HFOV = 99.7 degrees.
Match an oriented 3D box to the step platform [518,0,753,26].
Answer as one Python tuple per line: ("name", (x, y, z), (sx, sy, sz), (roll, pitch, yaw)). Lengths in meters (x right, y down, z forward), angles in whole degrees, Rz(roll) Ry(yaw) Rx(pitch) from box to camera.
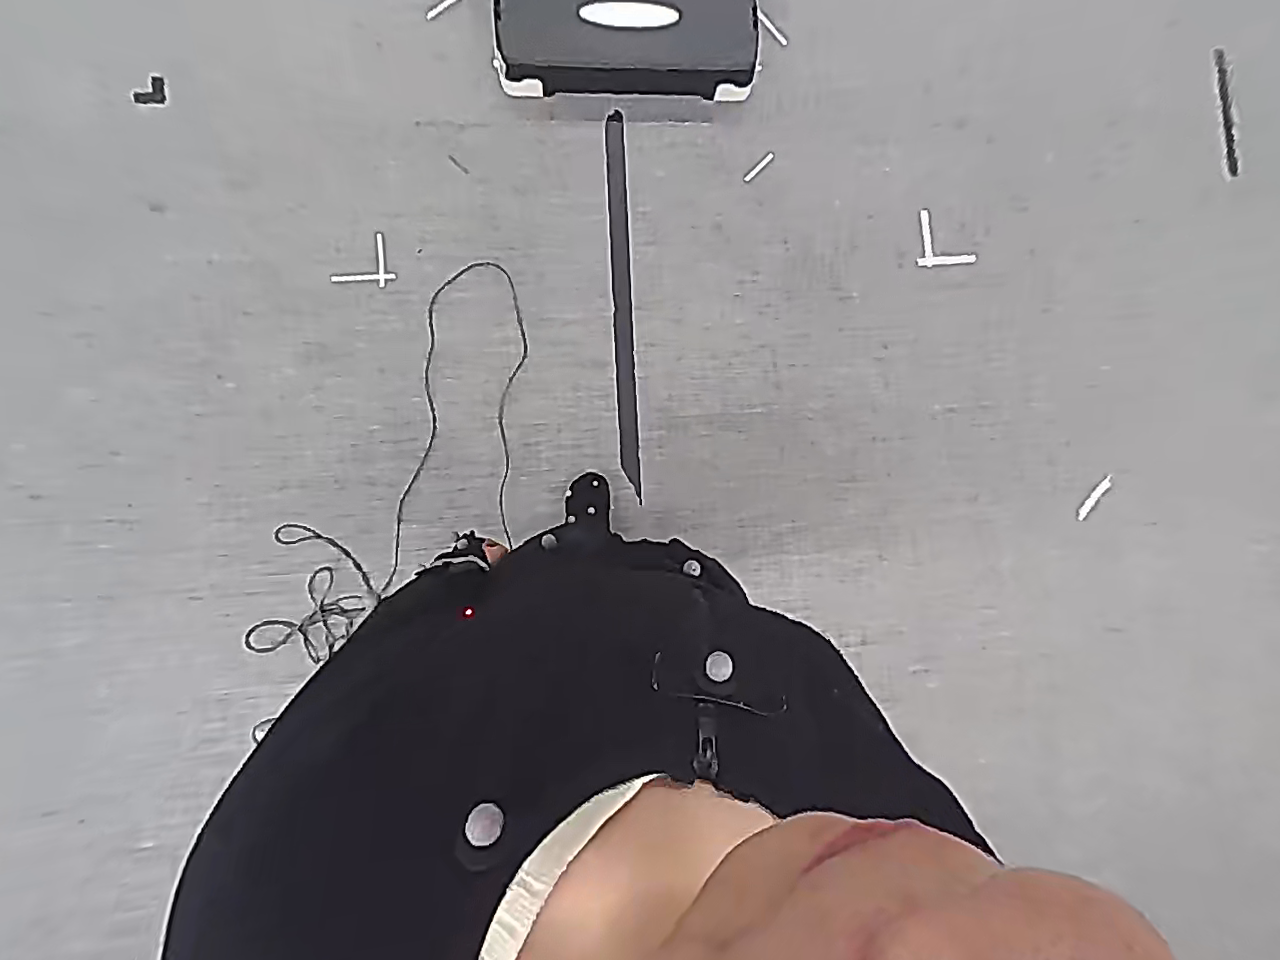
("step platform", (-0.012, -1.412, 1.391), (0.684, 0.204, 0.286), (1, 87, -6))
